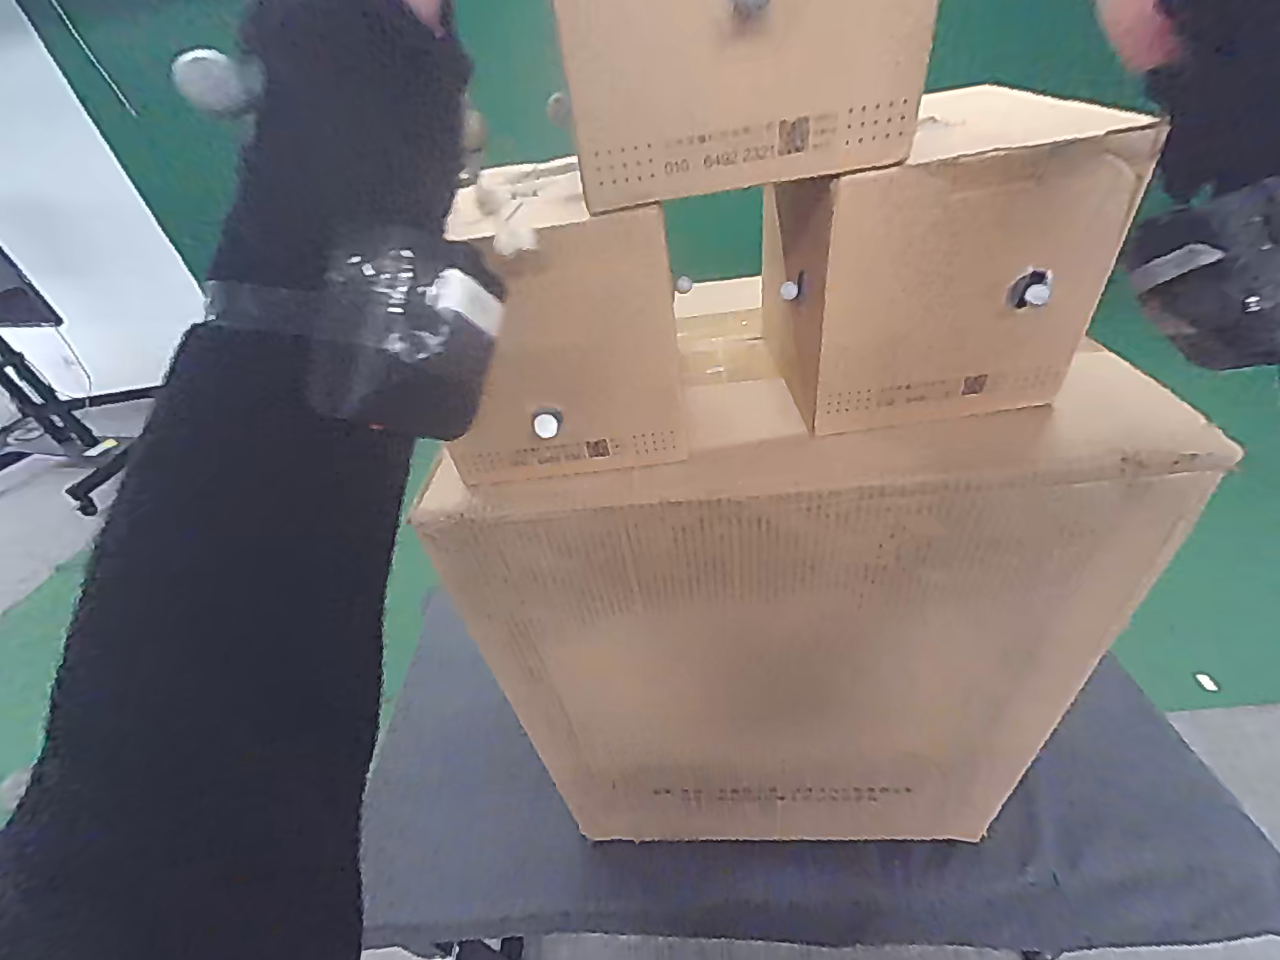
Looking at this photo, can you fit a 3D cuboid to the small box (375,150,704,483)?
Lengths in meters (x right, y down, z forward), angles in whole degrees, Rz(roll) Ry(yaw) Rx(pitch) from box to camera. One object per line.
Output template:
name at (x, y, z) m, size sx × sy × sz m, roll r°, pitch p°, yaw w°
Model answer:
small box at (-0.043, -0.118, 0.383) m, size 0.168 × 0.176 × 0.179 m, roll -4°, pitch 42°, yaw 7°

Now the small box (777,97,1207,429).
small box at (0.200, -0.147, 0.379) m, size 0.168 × 0.176 × 0.179 m, roll -6°, pitch 41°, yaw 1°
